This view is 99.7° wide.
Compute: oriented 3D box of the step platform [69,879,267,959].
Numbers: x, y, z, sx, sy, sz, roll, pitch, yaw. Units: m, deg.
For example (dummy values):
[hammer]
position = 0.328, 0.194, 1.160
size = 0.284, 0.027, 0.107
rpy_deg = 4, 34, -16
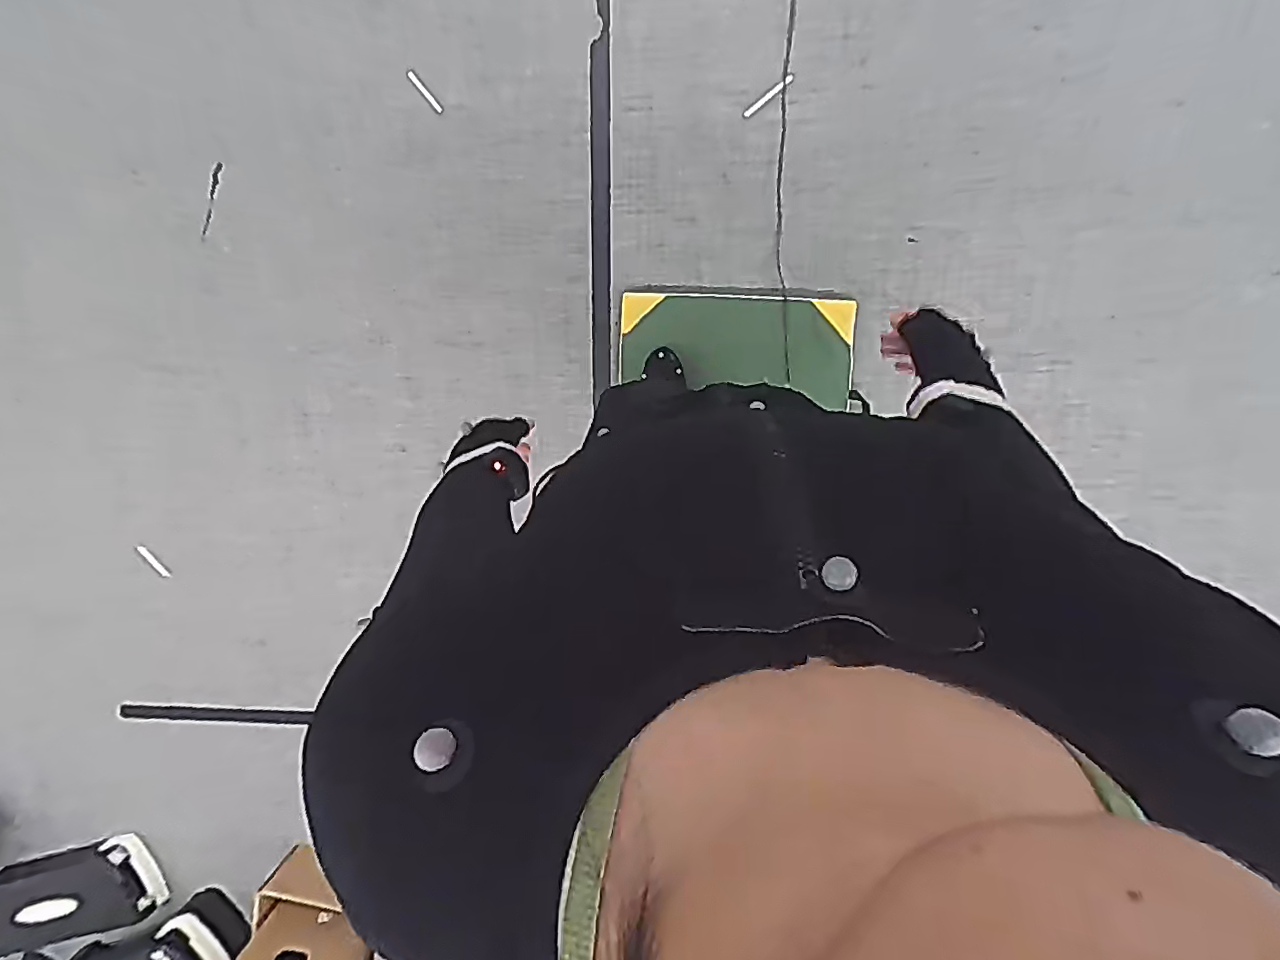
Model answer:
[step platform]
position = -1.682, 1.674, 1.871
size = 0.684, 0.204, 0.286
rpy_deg = -28, 98, 8
